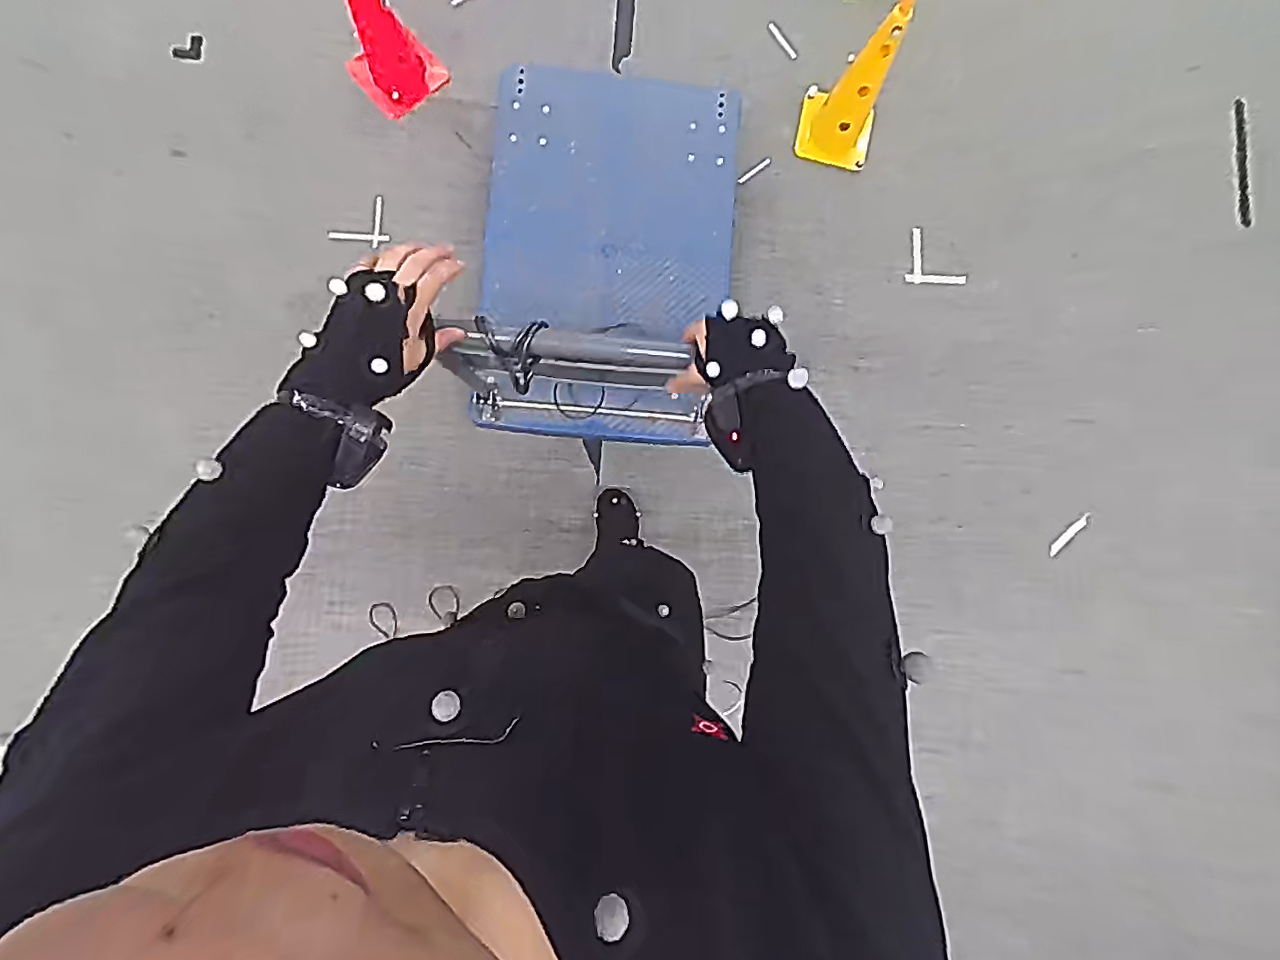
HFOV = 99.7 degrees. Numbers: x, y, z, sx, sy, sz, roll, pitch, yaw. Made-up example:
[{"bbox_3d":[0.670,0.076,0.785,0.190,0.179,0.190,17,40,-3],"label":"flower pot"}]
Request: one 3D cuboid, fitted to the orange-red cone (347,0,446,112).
[{"bbox_3d":[-0.622,-1.097,1.247,0.199,0.360,0.198,-41,90,-7],"label":"orange-red cone"}]
